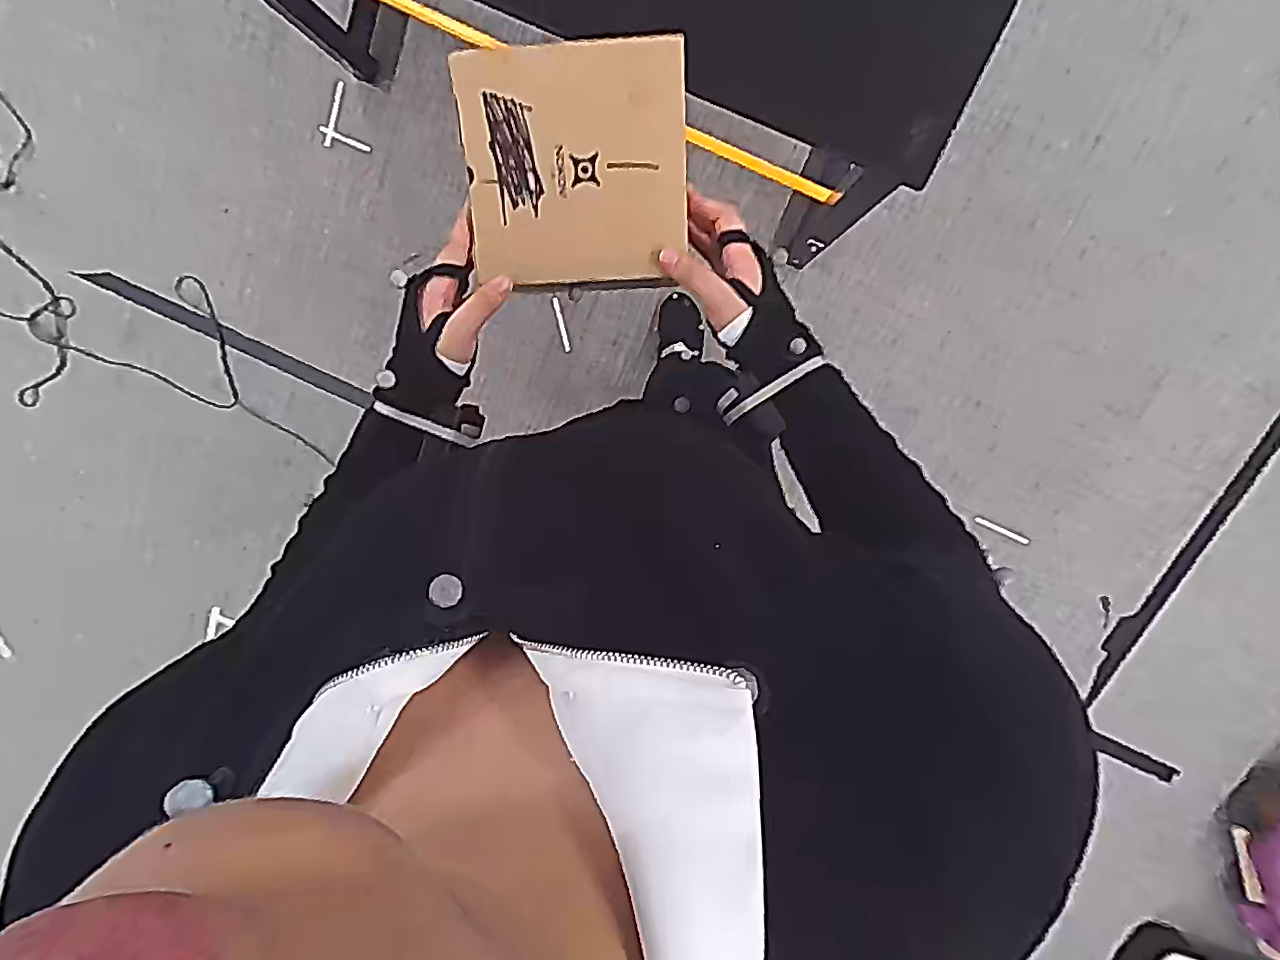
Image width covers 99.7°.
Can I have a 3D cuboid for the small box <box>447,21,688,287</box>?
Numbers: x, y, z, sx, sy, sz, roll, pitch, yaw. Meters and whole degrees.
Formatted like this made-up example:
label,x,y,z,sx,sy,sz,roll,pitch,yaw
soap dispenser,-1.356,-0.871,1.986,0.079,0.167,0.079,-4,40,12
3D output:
label,x,y,z,sx,sy,sz,roll,pitch,yaw
small box,-0.048,-0.267,0.485,0.179,0.176,0.168,-2,107,2
